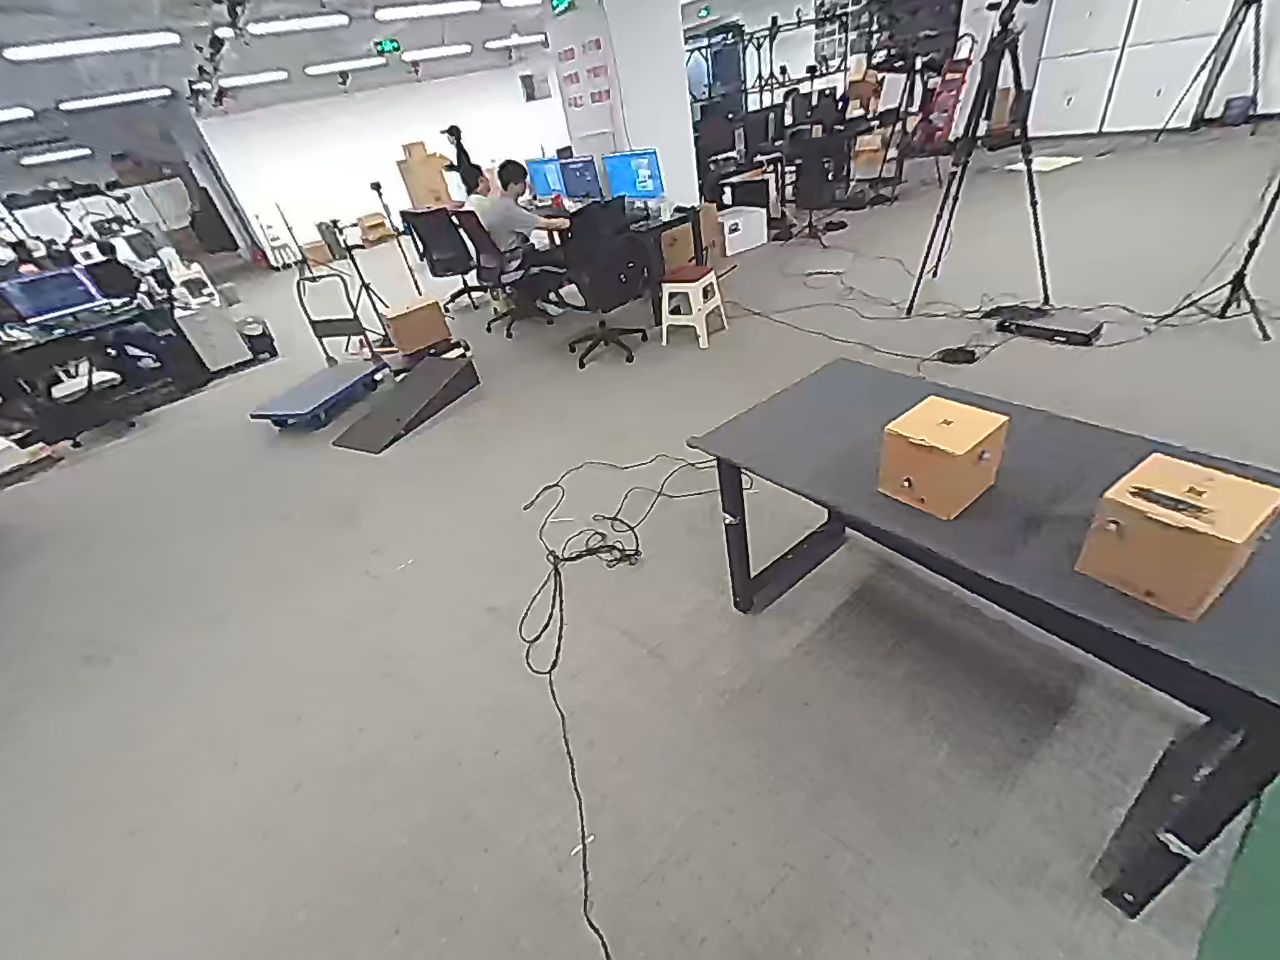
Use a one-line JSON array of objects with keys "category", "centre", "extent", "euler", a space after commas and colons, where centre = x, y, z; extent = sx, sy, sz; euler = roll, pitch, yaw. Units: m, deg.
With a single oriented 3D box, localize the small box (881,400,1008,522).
[{"category": "small box", "centre": [0.639, -0.043, 1.158], "extent": [0.179, 0.176, 0.168], "euler": [-29, 39, -24]}]
